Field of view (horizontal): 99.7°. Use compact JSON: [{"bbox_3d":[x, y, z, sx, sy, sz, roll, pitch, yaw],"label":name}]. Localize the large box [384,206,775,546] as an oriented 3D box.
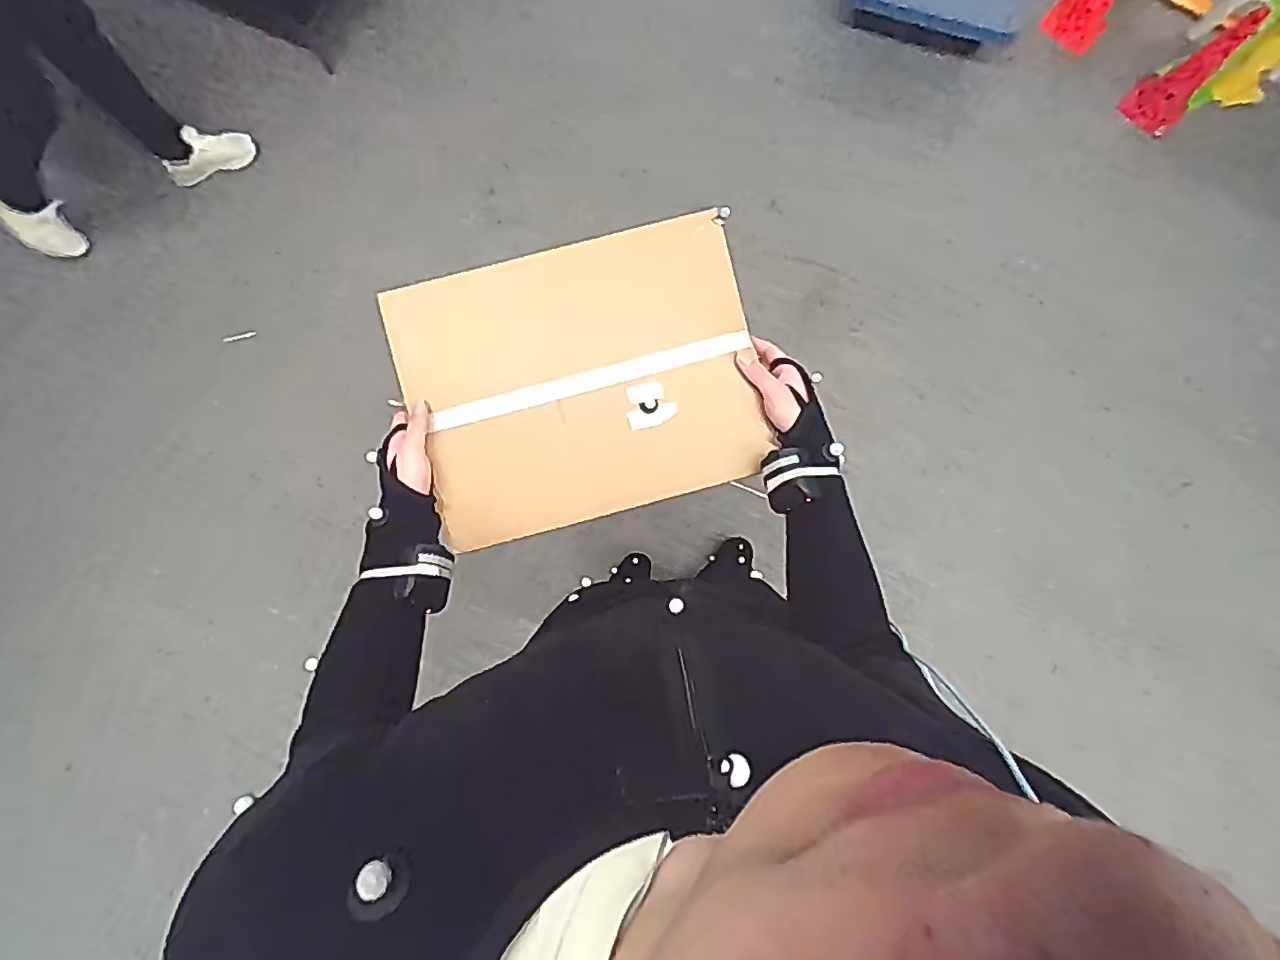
[{"bbox_3d":[-0.076,-0.125,0.785,0.408,0.320,0.320,-16,93,-3],"label":"large box"}]
